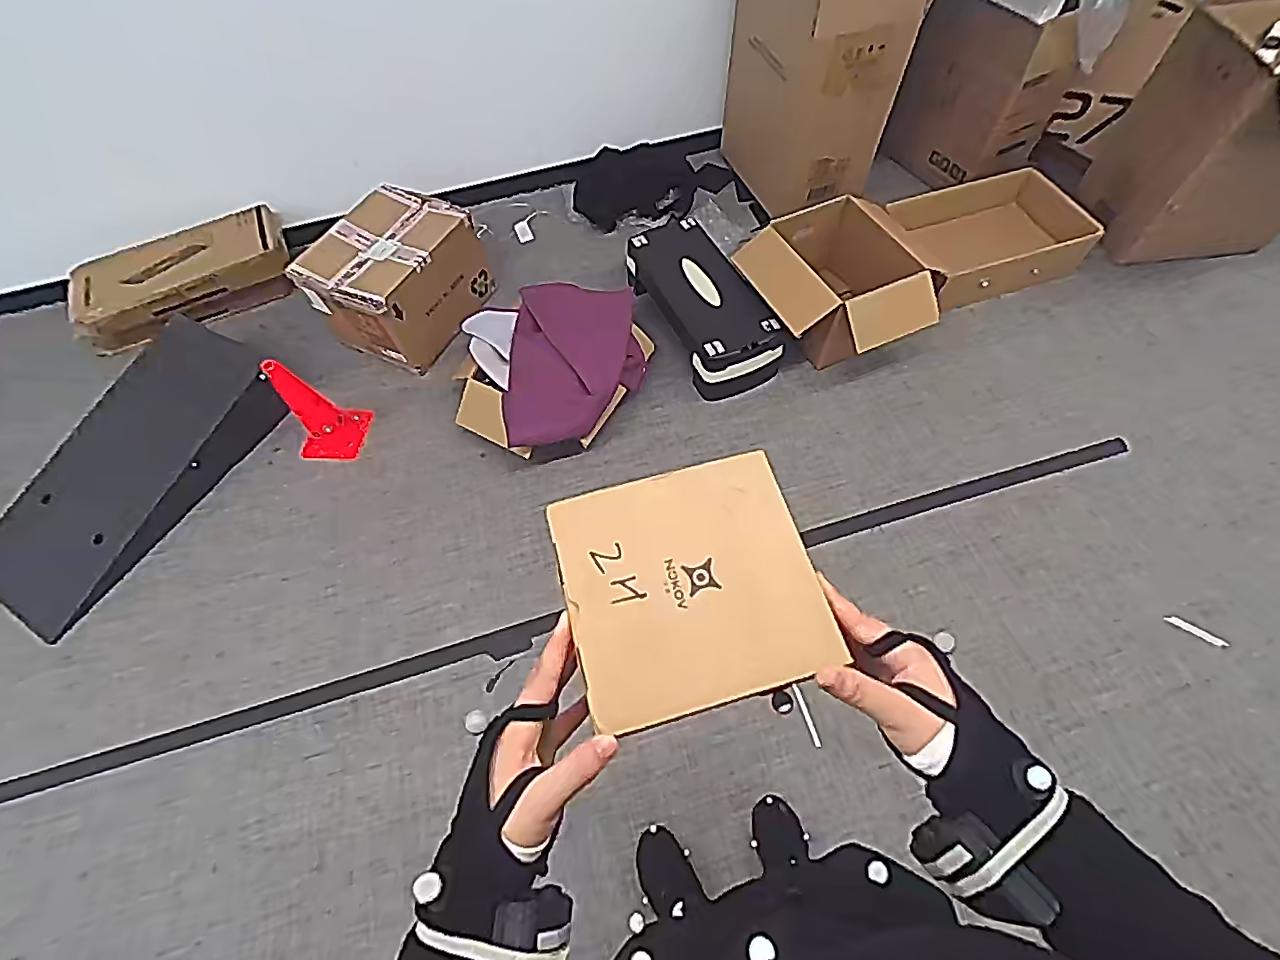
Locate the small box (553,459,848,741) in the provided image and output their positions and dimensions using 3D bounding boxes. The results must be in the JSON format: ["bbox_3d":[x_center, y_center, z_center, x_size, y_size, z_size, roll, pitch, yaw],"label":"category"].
[{"bbox_3d":[0.038,0.106,0.455,0.179,0.176,0.168,-14,66,-5],"label":"small box"}]
